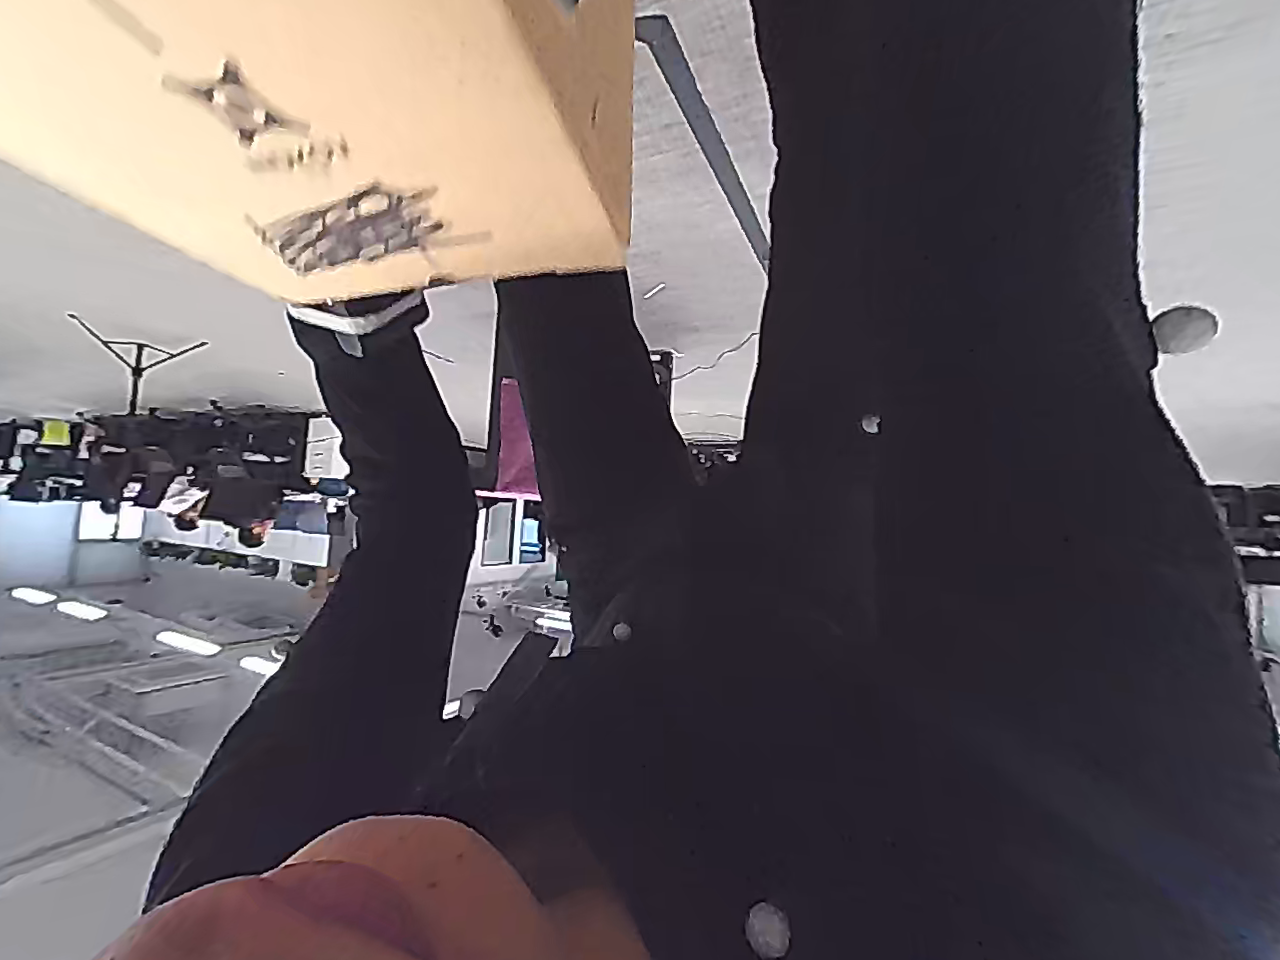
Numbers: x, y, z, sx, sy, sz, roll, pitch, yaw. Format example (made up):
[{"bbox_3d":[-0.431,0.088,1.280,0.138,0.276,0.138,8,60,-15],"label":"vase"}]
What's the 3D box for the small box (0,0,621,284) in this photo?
[{"bbox_3d":[-0.103,-0.183,0.161,0.168,0.176,0.179,-1,173,14],"label":"small box"}]
